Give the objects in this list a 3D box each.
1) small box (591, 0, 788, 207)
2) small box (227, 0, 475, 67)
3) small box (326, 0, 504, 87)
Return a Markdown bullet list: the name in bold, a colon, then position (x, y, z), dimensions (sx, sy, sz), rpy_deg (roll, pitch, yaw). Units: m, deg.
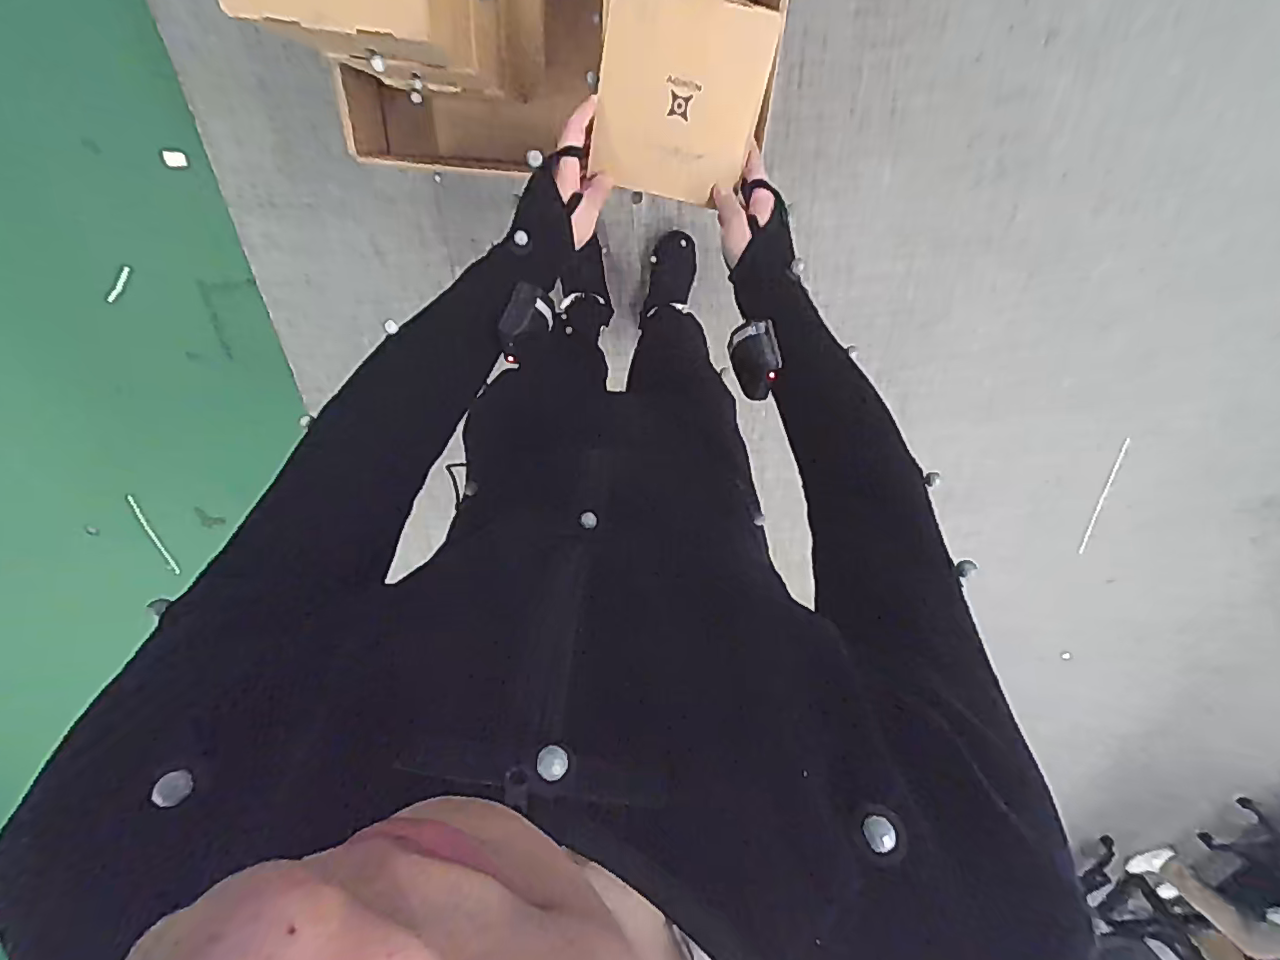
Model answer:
- **small box**: position (0.039, -0.424, 0.605), dimensions (0.168, 0.176, 0.179), rpy_deg (9, 120, -9)
- **small box**: position (-0.244, -0.487, 0.467), dimensions (0.168, 0.176, 0.179), rpy_deg (4, 121, -5)
- **small box**: position (-0.251, -0.569, 0.610), dimensions (0.168, 0.176, 0.179), rpy_deg (3, 121, -5)
